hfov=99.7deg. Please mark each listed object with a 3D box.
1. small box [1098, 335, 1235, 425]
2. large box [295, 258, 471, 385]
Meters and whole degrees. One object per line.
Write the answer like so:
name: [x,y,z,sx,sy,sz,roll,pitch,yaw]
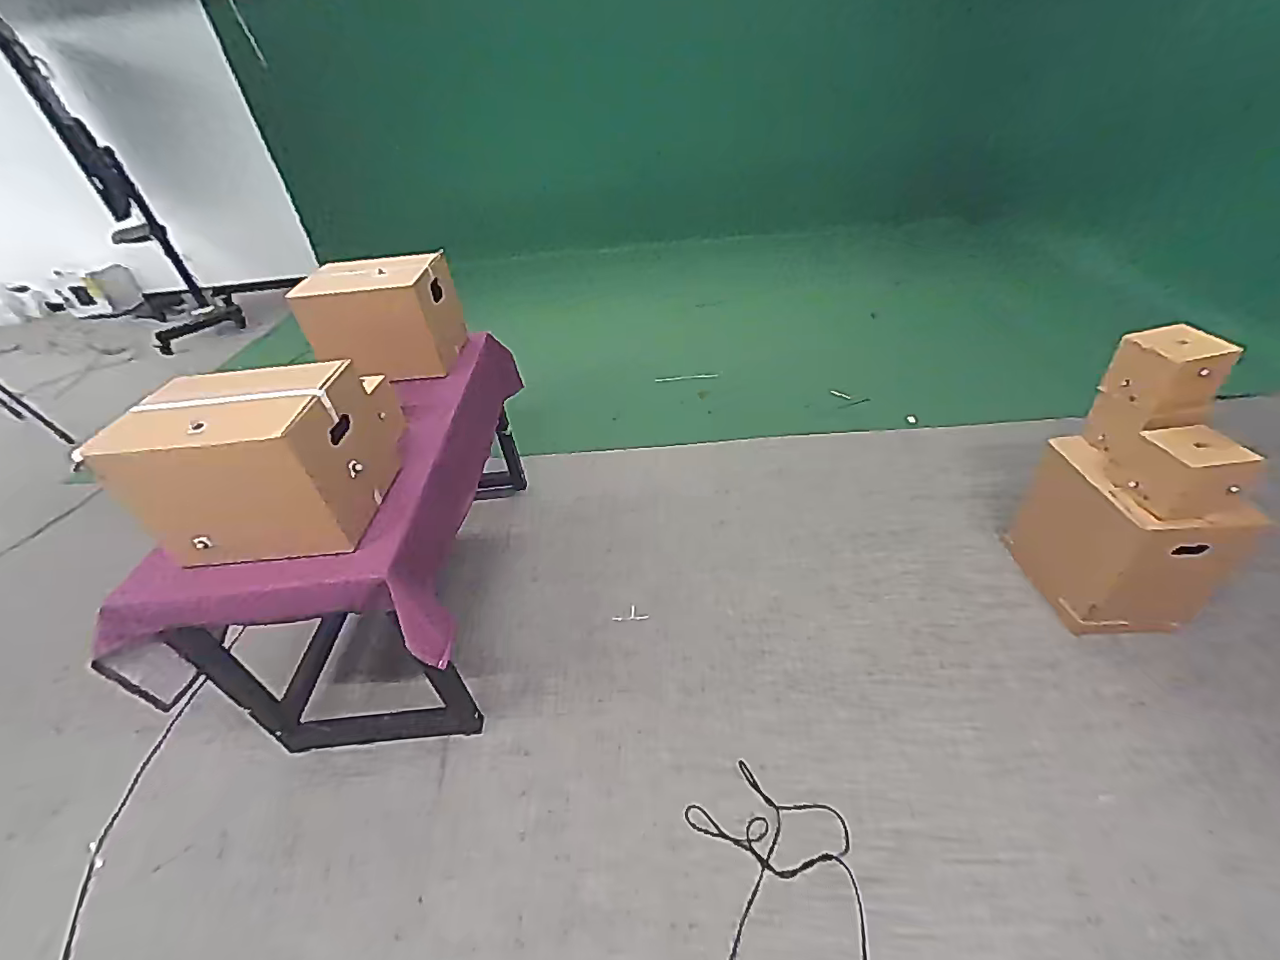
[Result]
small box: [1.416,-0.271,1.470,0.179,0.176,0.168,-11,40,-3]
large box: [-0.839,-0.538,1.832,0.408,0.320,0.320,-3,39,3]
